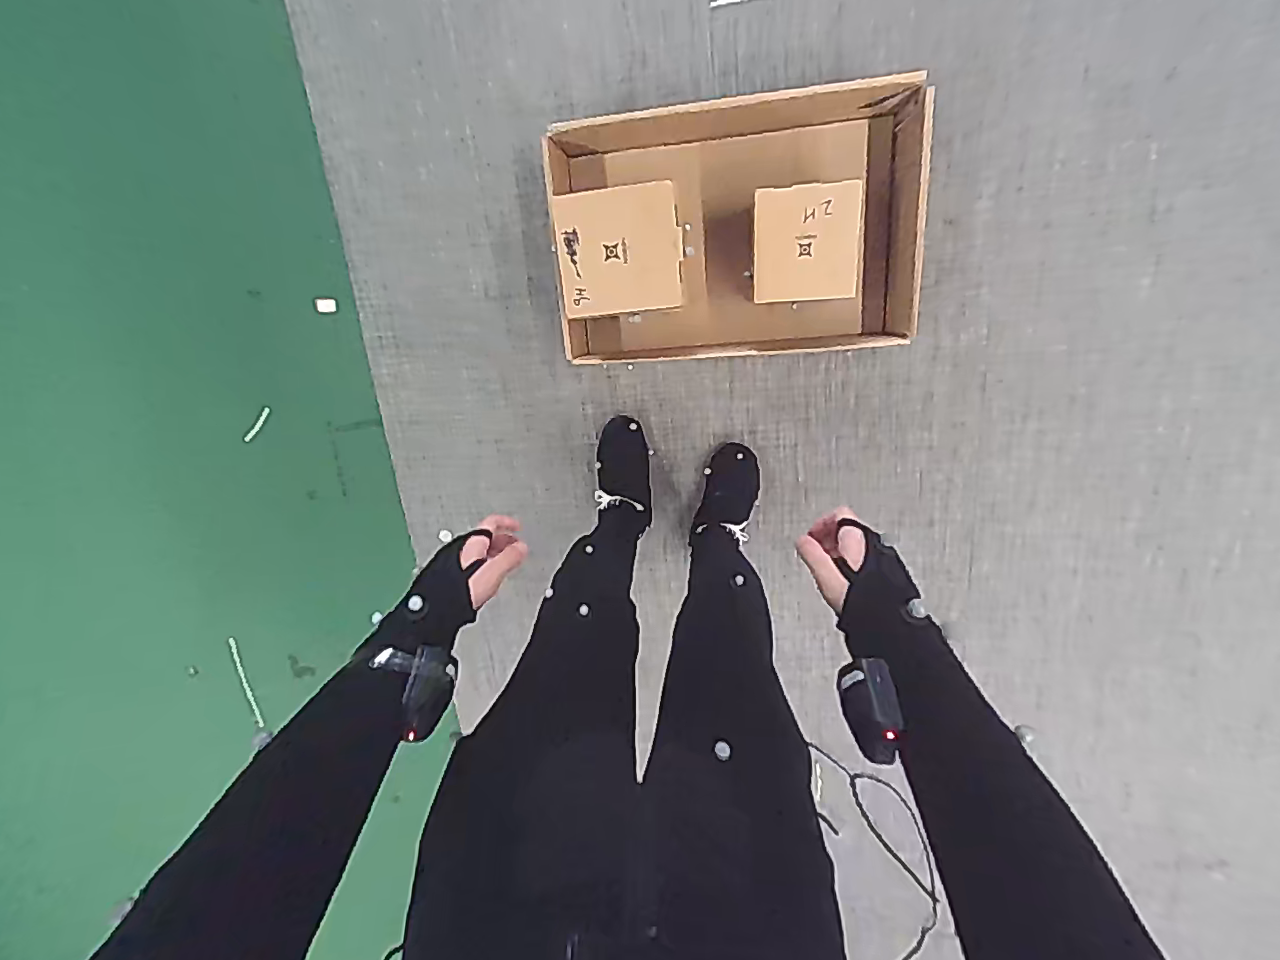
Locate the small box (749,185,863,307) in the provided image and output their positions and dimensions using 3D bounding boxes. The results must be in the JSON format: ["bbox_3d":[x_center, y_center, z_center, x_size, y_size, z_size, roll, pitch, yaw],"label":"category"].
[{"bbox_3d":[0.281,-0.400,0.948,0.168,0.176,0.179,0,107,8],"label":"small box"}]

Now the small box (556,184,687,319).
[{"bbox_3d":[-0.018,-0.342,0.836,0.179,0.176,0.168,-3,106,8],"label":"small box"}]
